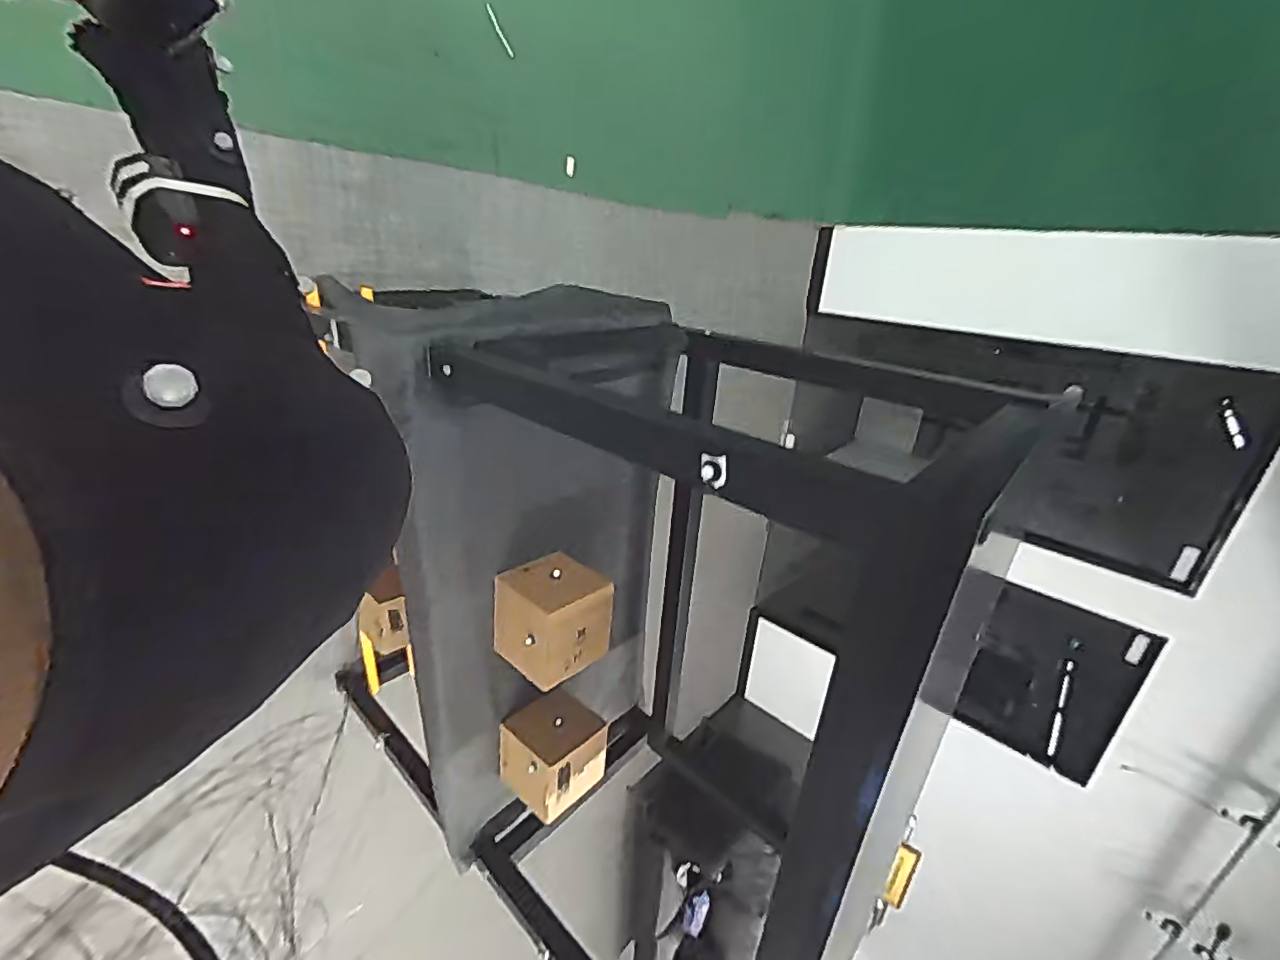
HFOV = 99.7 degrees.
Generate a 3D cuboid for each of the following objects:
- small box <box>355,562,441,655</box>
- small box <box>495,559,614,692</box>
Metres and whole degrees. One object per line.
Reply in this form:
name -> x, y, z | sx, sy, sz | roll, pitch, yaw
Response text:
small box -> -0.686, 0.353, 1.524 | 0.179, 0.176, 0.168 | -16, 121, -46
small box -> -0.173, 0.274, 1.074 | 0.168, 0.176, 0.179 | -17, 121, -46
